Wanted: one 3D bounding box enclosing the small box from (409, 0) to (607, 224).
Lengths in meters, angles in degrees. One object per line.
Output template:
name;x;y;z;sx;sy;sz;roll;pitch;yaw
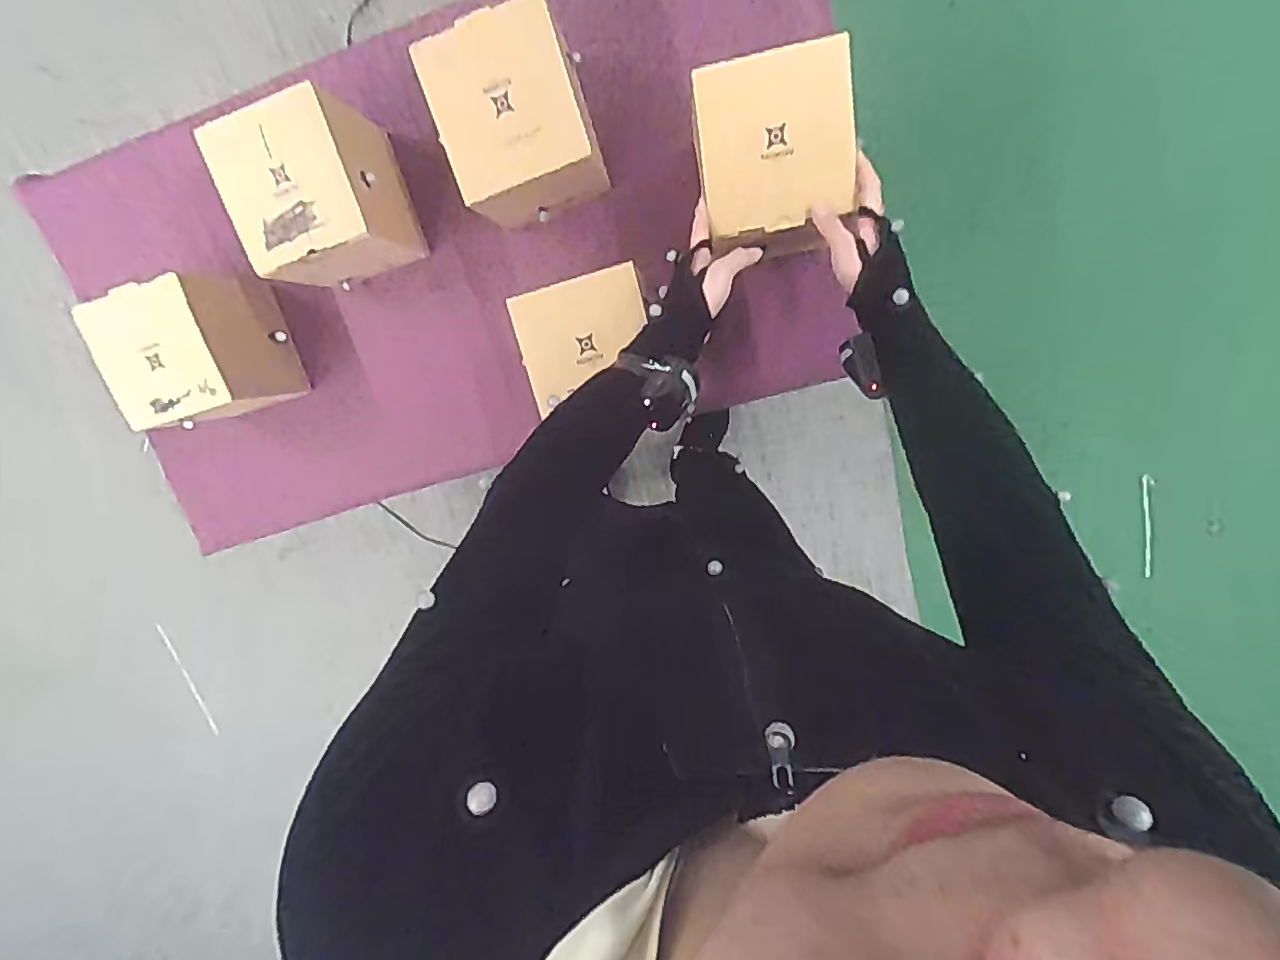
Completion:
small box;-0.152;-0.454;0.688;0.168;0.176;0.179;-16;104;10

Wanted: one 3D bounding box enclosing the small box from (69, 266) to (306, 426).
small box;-0.641;-0.191;0.790;0.168;0.176;0.179;-14;102;9

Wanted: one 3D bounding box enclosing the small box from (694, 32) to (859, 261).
small box;0.156;-0.385;0.659;0.168;0.176;0.179;-7;102;9

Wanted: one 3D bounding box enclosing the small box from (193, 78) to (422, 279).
small box;-0.425;-0.382;0.727;0.168;0.176;0.179;-15;101;8

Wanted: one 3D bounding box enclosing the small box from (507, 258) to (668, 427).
small box;-0.060;-0.182;0.746;0.168;0.176;0.179;-13;102;8
